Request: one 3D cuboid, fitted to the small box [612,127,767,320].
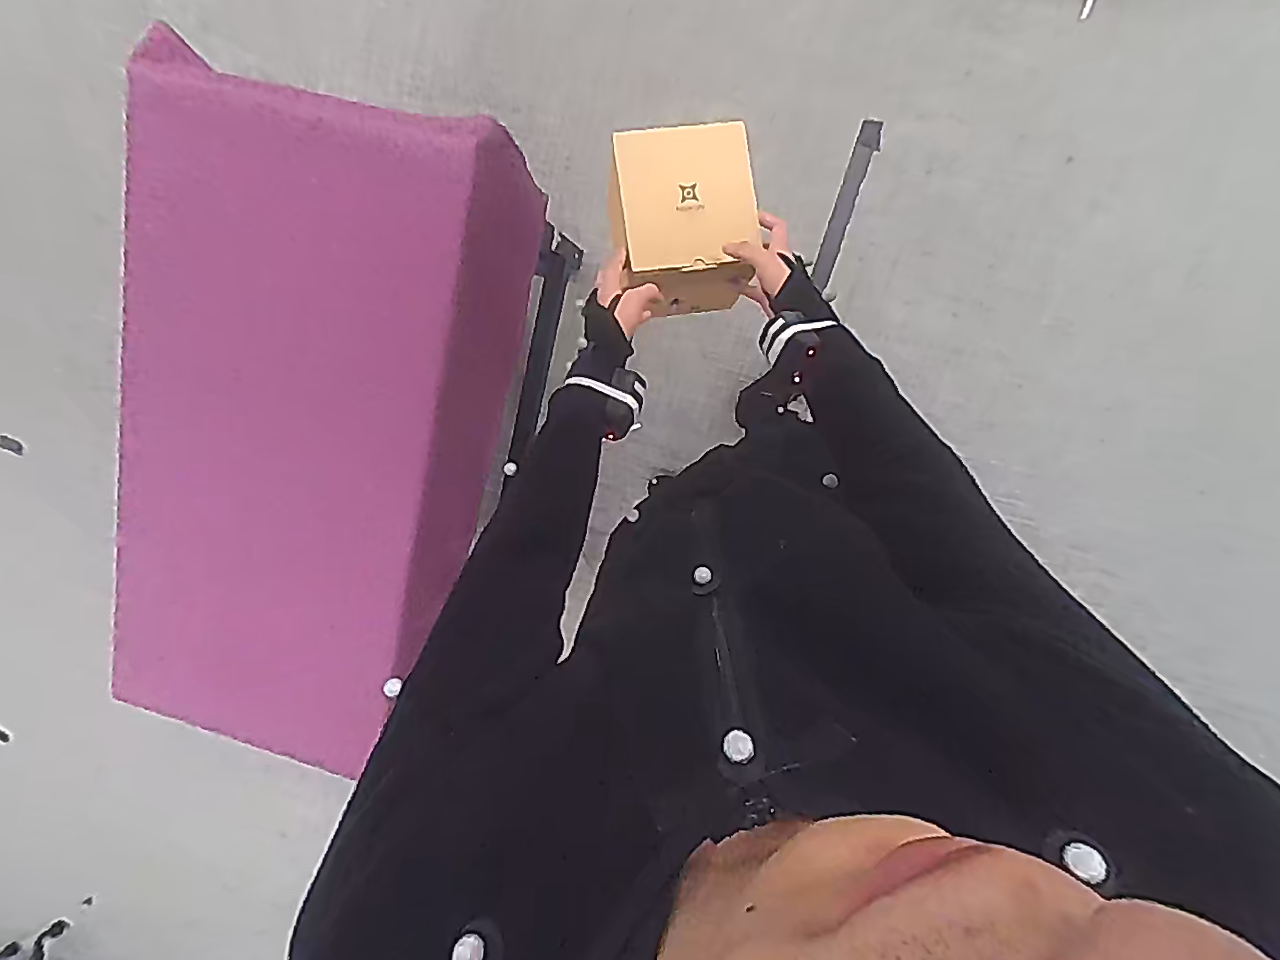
[{"bbox_3d":[0.056,-0.335,0.732,0.168,0.176,0.179,-8,89,-5],"label":"small box"}]
